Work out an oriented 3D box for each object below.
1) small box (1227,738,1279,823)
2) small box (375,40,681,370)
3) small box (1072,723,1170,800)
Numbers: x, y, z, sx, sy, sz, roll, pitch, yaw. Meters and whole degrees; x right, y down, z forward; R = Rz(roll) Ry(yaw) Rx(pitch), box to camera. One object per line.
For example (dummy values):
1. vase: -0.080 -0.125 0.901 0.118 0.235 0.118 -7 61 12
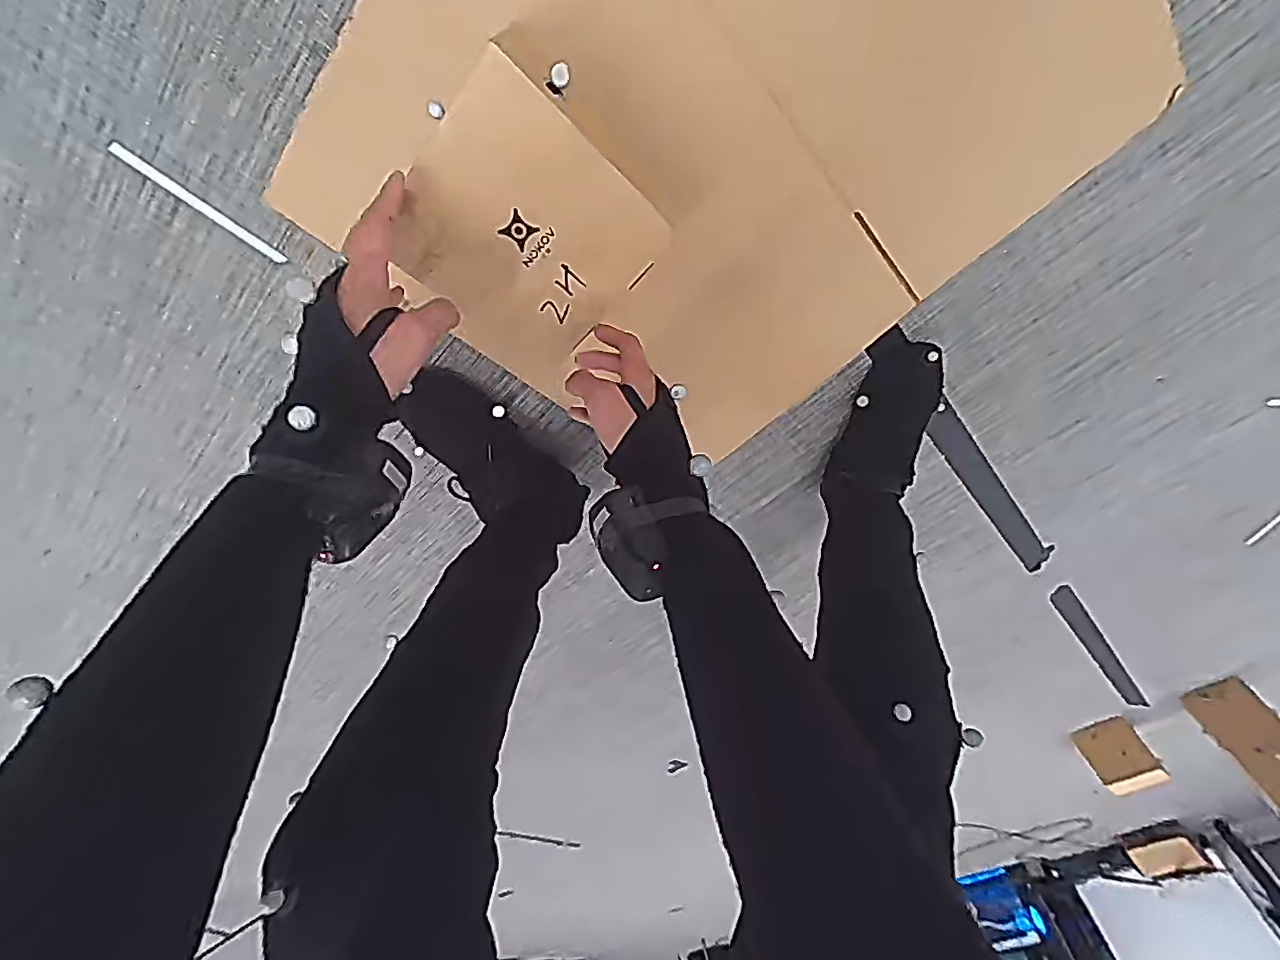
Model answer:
1. small box: 1.858 0.862 1.552 0.168 0.176 0.179 -38 126 23
2. small box: -0.091 -0.239 0.475 0.179 0.176 0.168 33 121 -32
3. small box: 1.600 0.938 1.807 0.179 0.176 0.168 32 120 -31
